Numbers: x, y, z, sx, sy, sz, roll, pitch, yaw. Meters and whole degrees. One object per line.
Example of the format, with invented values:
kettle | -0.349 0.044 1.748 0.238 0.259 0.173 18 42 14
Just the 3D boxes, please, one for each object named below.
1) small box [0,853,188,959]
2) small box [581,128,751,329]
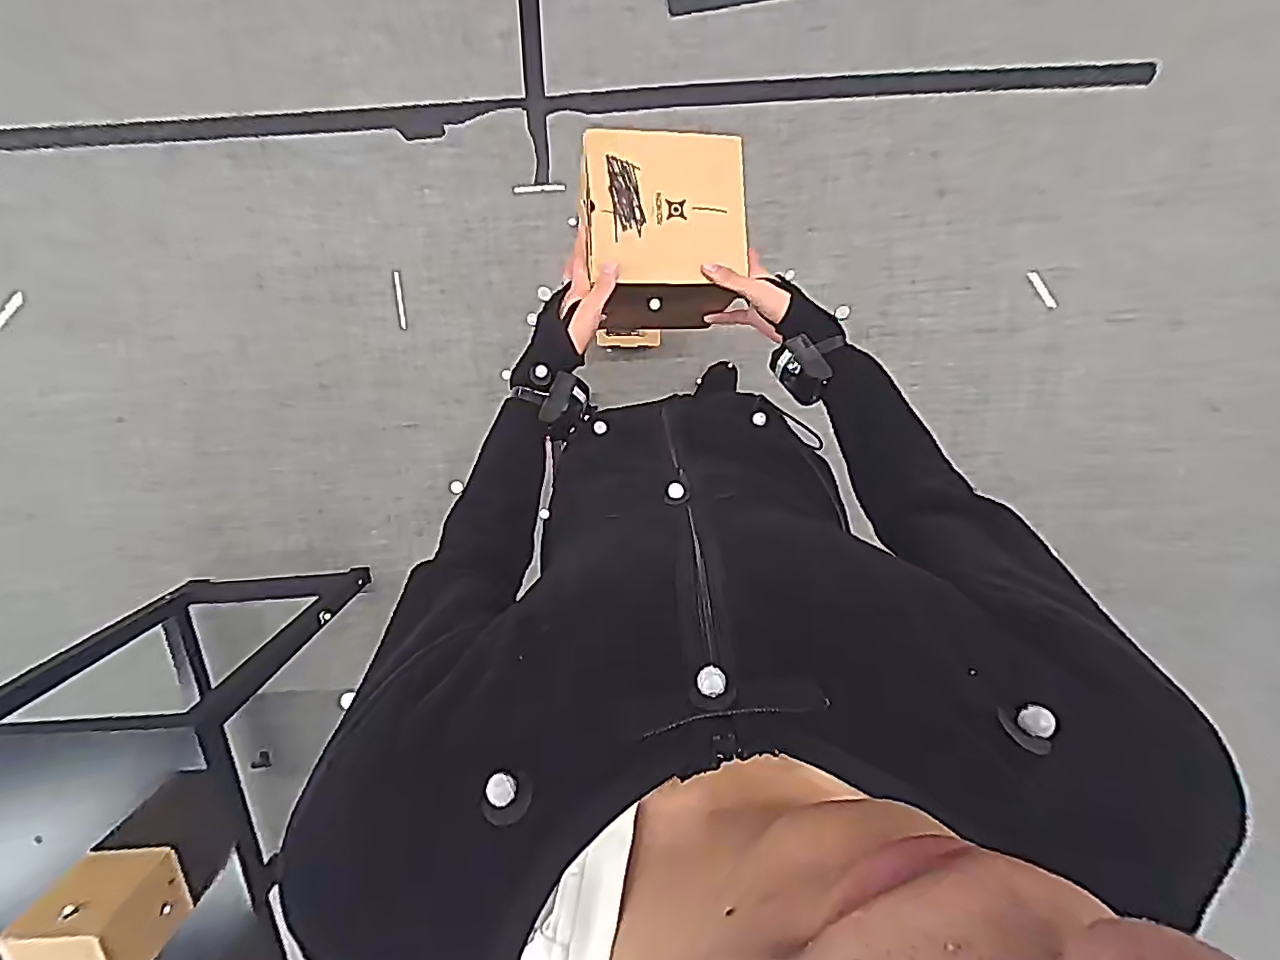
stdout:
small box | -1.020 0.844 1.021 0.179 0.176 0.168 -3 105 0
small box | 0.019 -0.285 0.650 0.179 0.176 0.168 -3 89 -9
